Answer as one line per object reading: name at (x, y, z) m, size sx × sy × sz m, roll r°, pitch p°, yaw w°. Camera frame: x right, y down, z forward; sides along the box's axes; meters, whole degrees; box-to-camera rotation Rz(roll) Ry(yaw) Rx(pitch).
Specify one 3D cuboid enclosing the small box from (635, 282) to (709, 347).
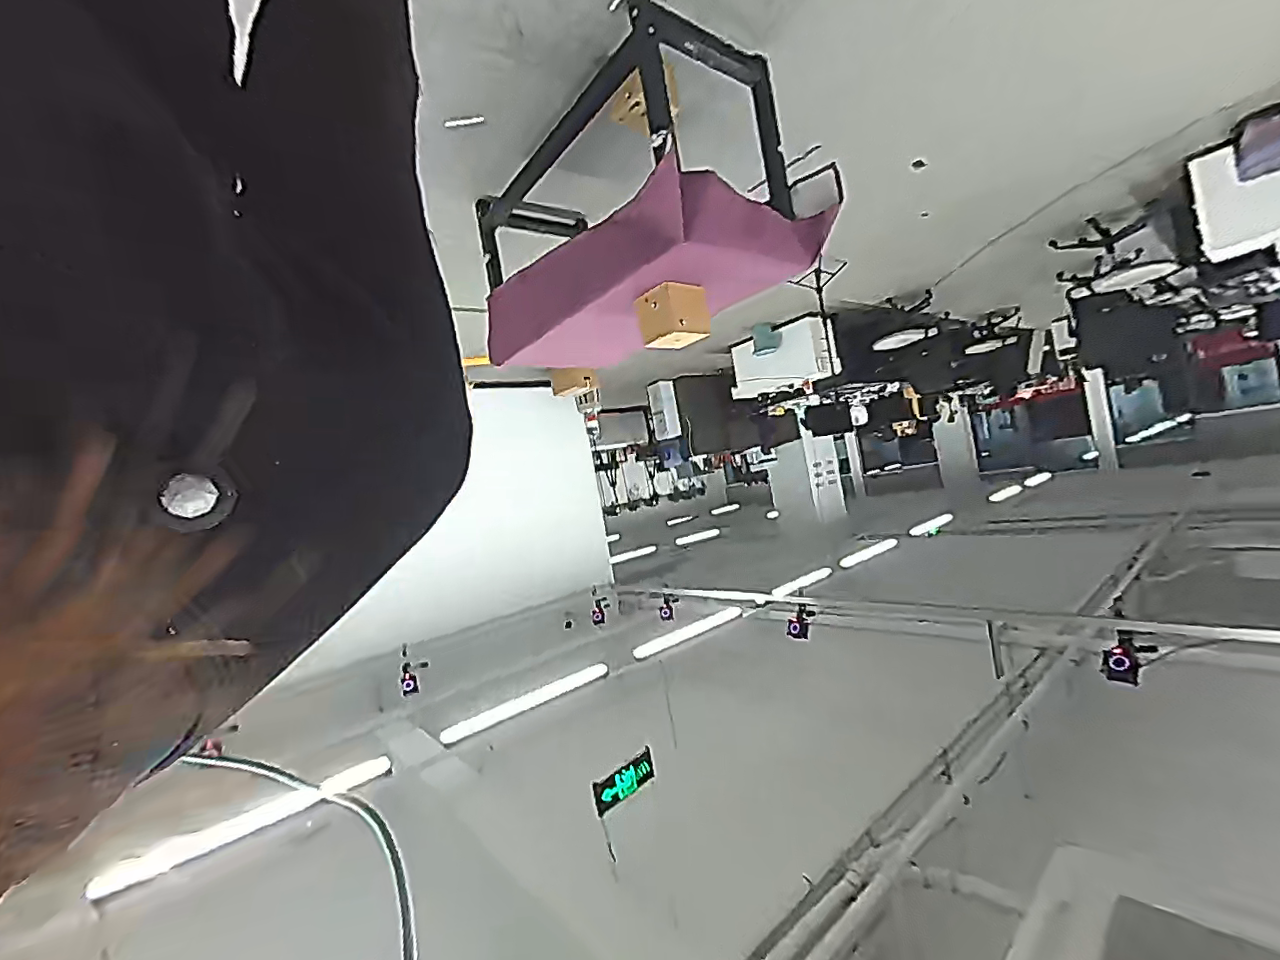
small box at (0.107, -0.558, 1.834) m, size 0.179 × 0.176 × 0.168 m, roll -9°, pitch 179°, yaw -39°
